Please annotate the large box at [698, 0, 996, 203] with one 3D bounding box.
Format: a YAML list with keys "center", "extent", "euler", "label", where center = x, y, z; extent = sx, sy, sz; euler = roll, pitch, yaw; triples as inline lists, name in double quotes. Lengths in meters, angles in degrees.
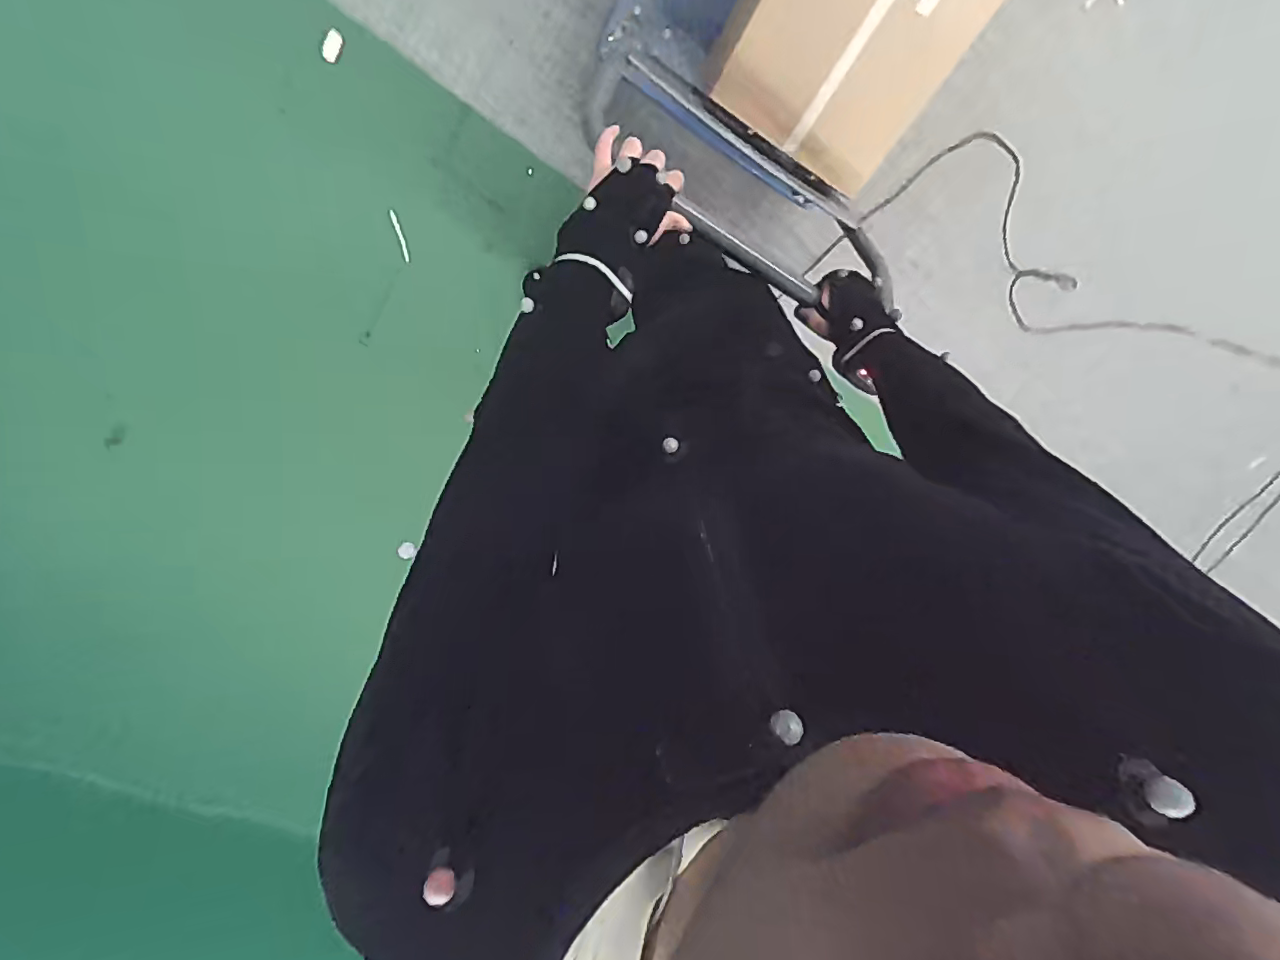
- center: [0.340, -0.788, 0.950]
  extent: [0.320, 0.320, 0.408]
  euler: [24, 126, -19]
  label: "large box"
